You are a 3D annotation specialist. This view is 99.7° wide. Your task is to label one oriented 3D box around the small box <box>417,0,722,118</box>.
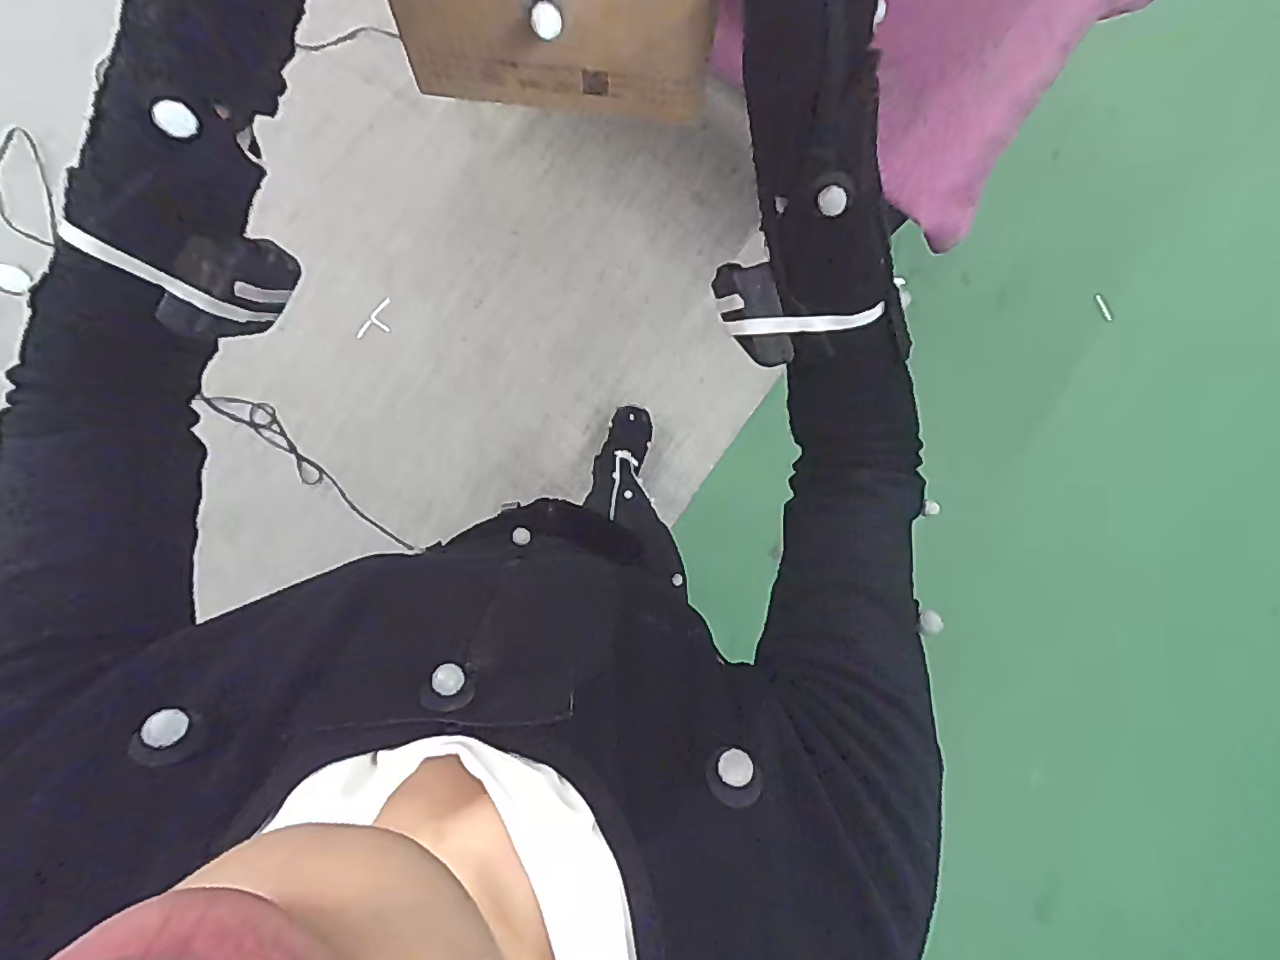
[{"bbox_3d":[-0.032,-0.328,0.266,0.168,0.176,0.179,6,75,-1],"label":"small box"}]
